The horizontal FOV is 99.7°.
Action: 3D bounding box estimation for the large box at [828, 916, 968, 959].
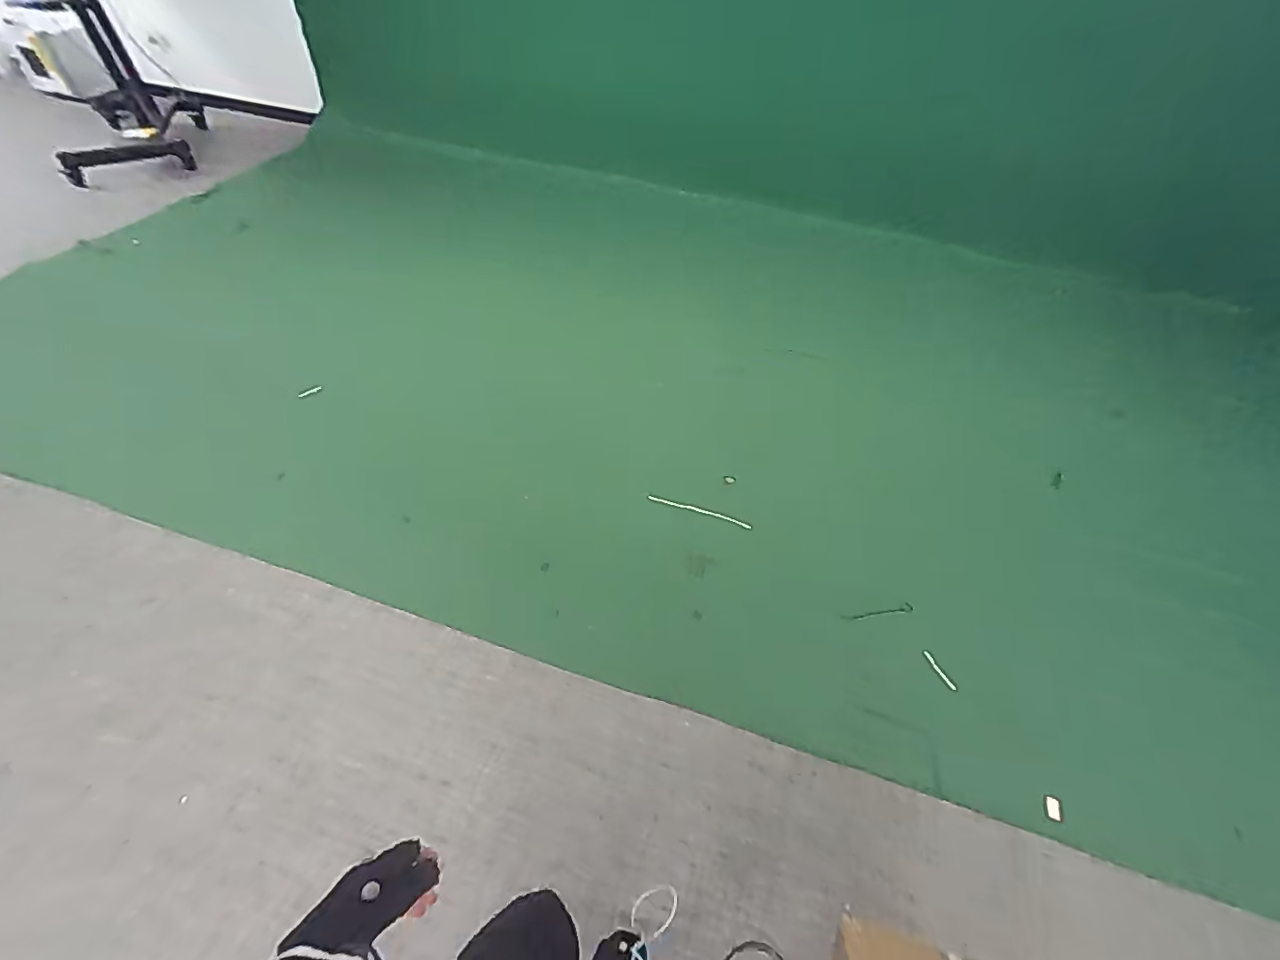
[{"bbox_3d":[0.371,0.822,0.589,0.320,0.408,0.320,14,88,13],"label":"large box"}]
